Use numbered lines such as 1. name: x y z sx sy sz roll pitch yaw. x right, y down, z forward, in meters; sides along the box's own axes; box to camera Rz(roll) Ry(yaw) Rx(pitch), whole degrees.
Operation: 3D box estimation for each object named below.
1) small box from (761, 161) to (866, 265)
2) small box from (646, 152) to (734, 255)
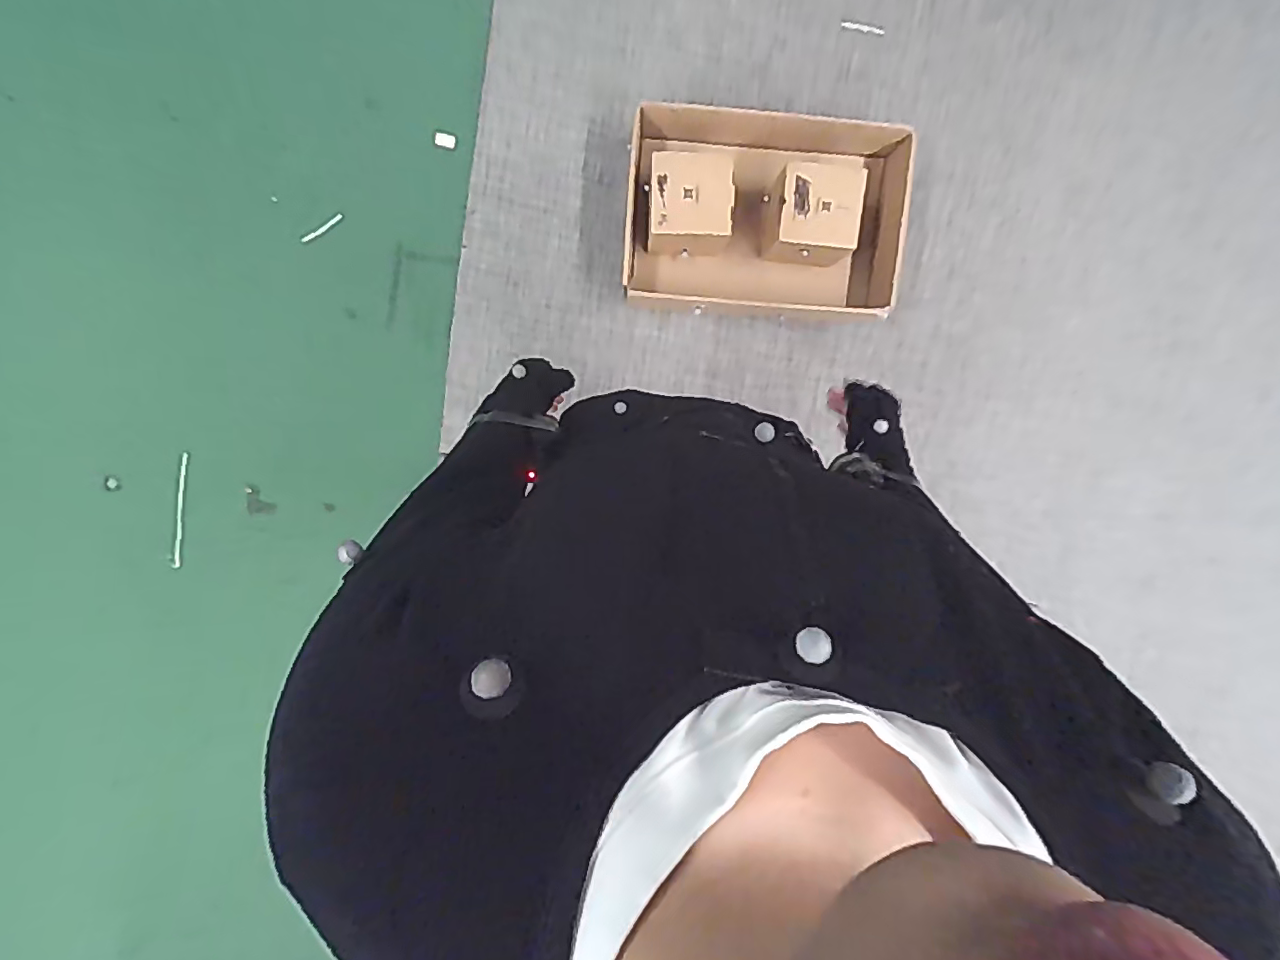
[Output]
1. small box: 0.388 -0.603 1.242 0.179 0.176 0.168 6 99 -1
2. small box: 0.108 -0.621 1.233 0.179 0.176 0.168 1 98 -3
